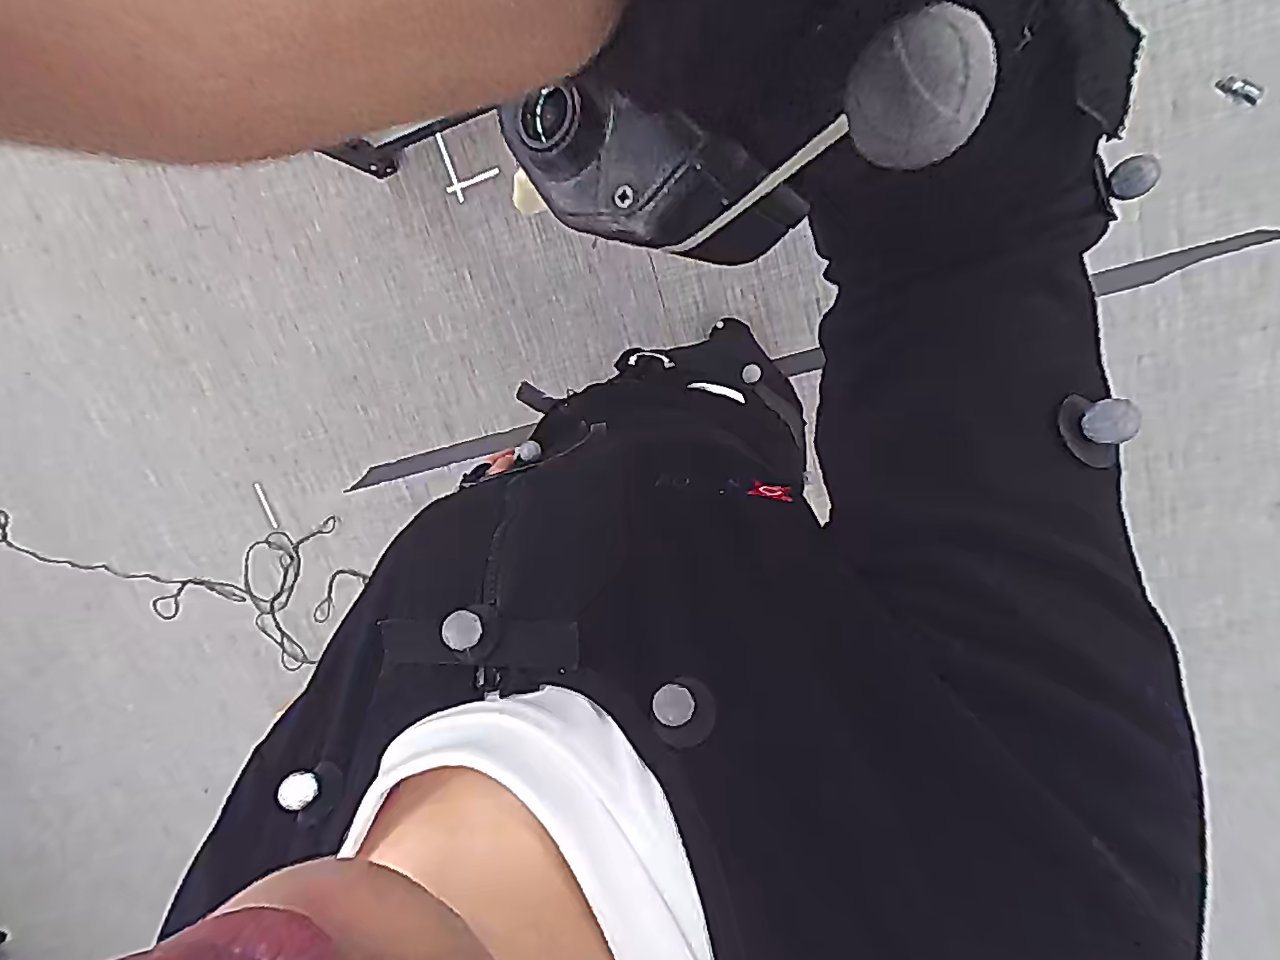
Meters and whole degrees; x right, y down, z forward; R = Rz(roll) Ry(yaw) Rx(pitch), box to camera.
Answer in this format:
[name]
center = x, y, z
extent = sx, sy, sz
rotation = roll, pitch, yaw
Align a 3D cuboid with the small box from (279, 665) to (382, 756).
[small box]
center = -0.928, 0.693, 1.637
extent = 0.179, 0.176, 0.168
rotation = -21, 102, 13
